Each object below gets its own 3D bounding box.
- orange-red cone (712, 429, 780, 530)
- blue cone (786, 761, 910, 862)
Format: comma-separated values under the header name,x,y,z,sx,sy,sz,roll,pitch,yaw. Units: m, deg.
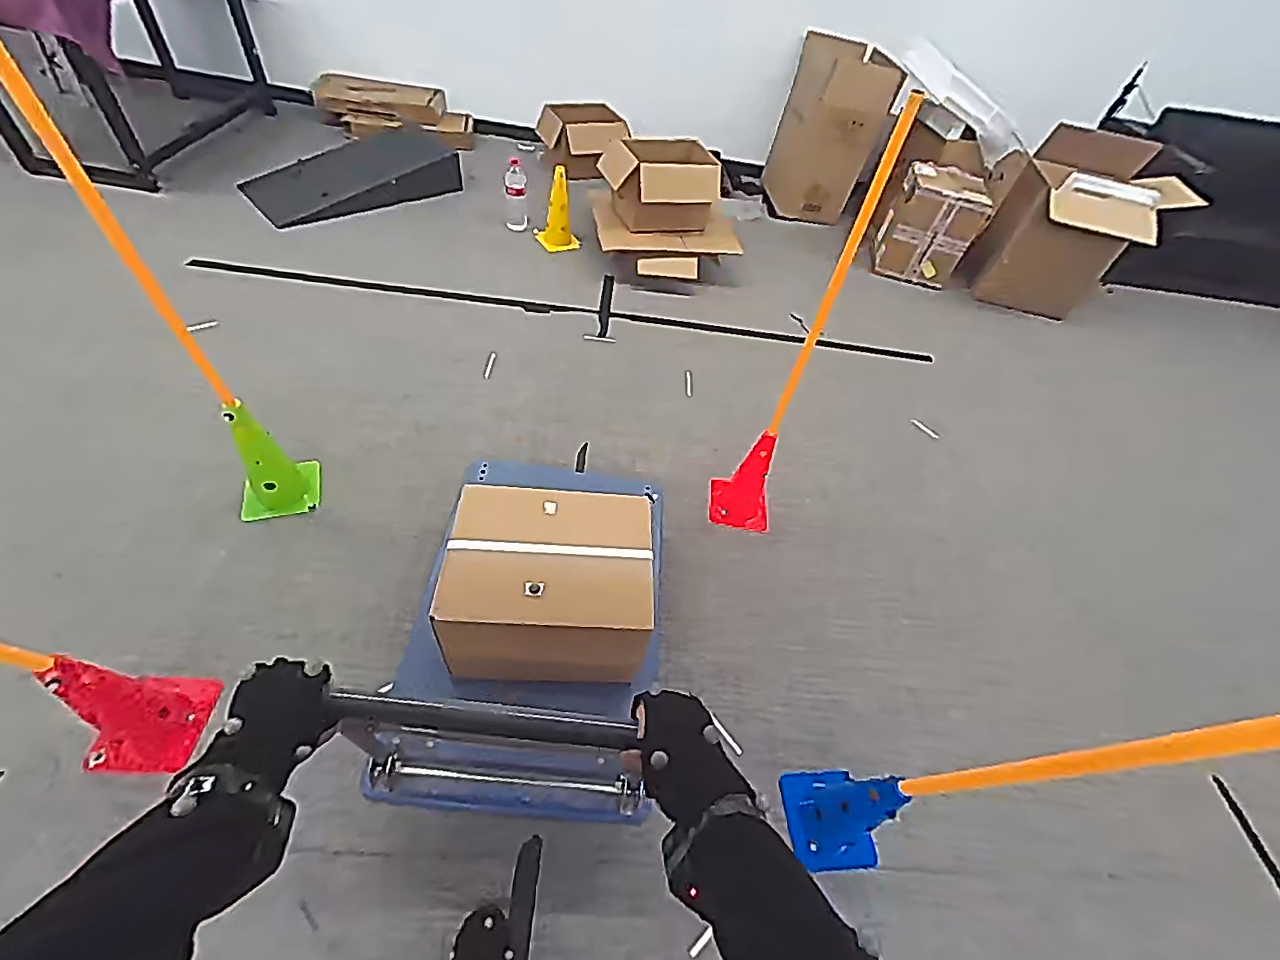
name,x,y,z,sx,sy,sz,roll,pitch,yaw
orange-red cone,0.373,-0.028,1.722,0.199,0.360,0.198,12,50,-2
blue cone,0.476,0.685,1.165,0.193,0.380,0.192,3,49,-8
